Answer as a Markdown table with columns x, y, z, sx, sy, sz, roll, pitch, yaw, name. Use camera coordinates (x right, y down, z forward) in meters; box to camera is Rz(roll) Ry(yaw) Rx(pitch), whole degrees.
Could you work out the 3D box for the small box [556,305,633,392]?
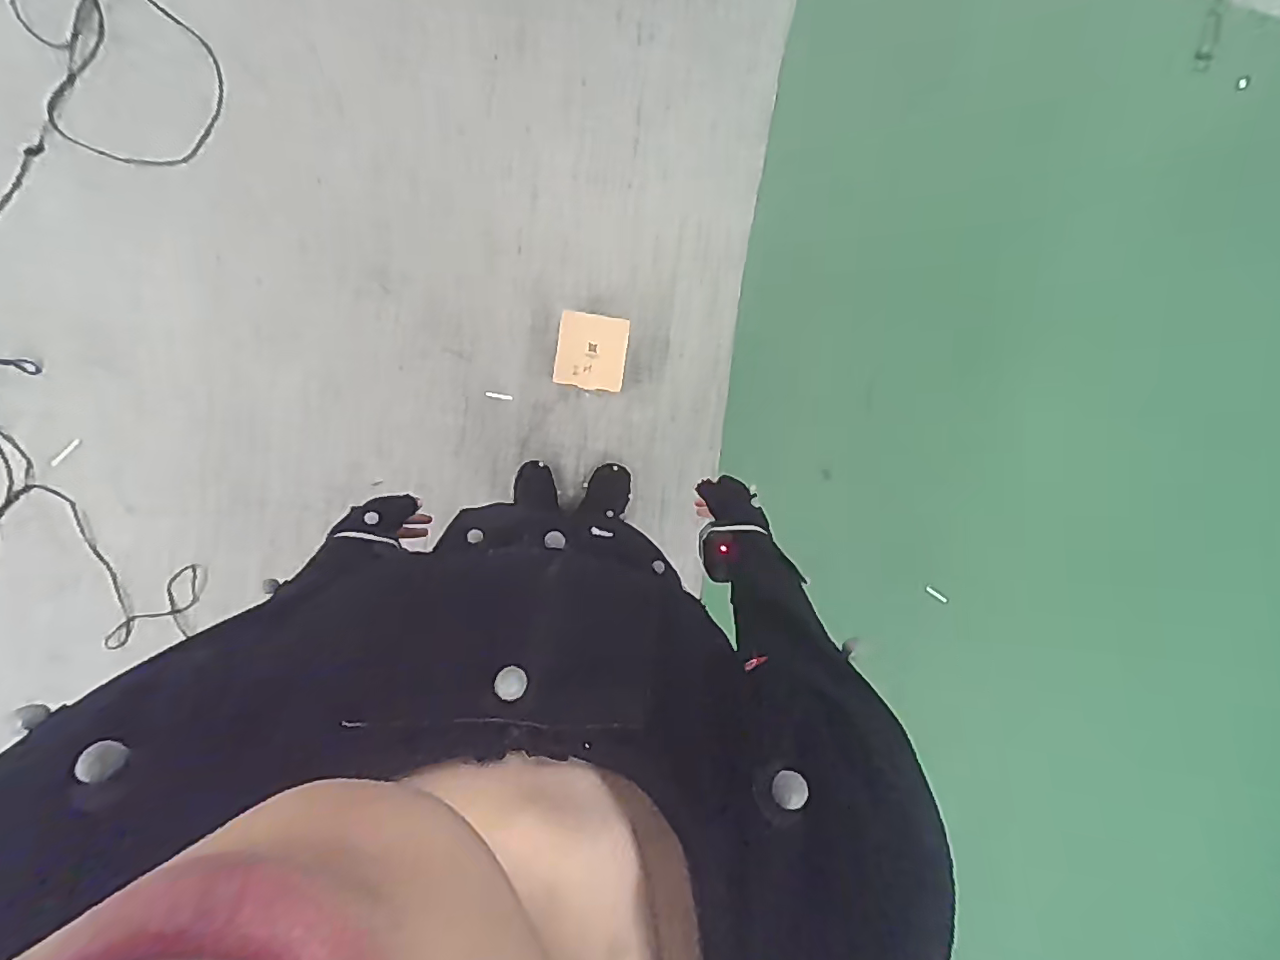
| x | y | z | sx | sy | sz | roll | pitch | yaw | name |
| --- | --- | --- | --- | --- | --- | --- | --- | --- | --- |
| -0.115 | -0.326 | 1.369 | 0.168 | 0.176 | 0.179 | 8 | 95 | -4 | small box |
